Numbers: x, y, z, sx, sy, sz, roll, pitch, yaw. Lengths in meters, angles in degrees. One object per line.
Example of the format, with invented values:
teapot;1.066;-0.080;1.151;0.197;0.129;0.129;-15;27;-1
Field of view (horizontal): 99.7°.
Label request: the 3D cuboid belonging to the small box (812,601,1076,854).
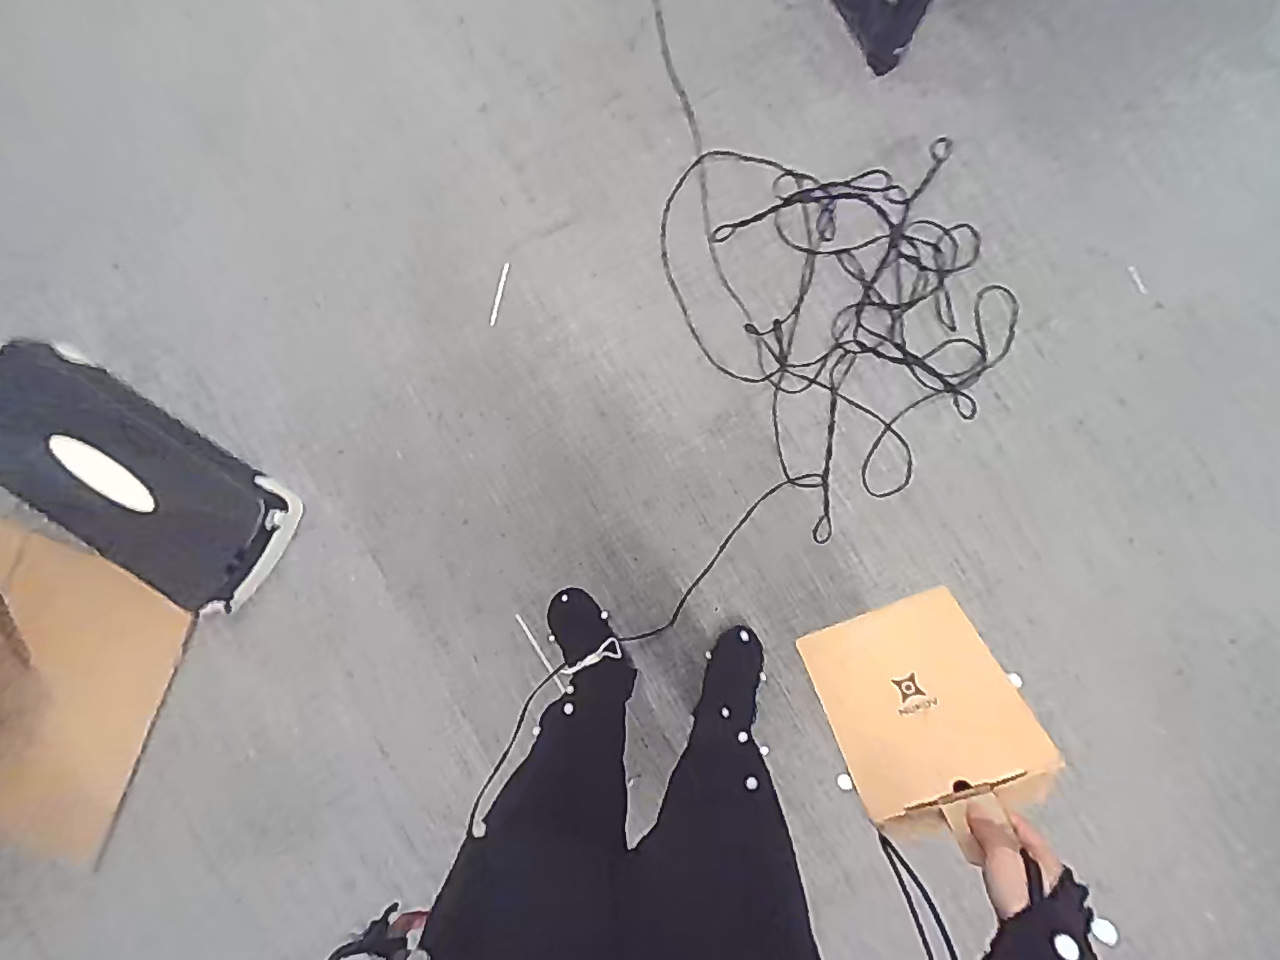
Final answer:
small box;0.300;0.263;0.568;0.168;0.176;0.179;-23;44;10
